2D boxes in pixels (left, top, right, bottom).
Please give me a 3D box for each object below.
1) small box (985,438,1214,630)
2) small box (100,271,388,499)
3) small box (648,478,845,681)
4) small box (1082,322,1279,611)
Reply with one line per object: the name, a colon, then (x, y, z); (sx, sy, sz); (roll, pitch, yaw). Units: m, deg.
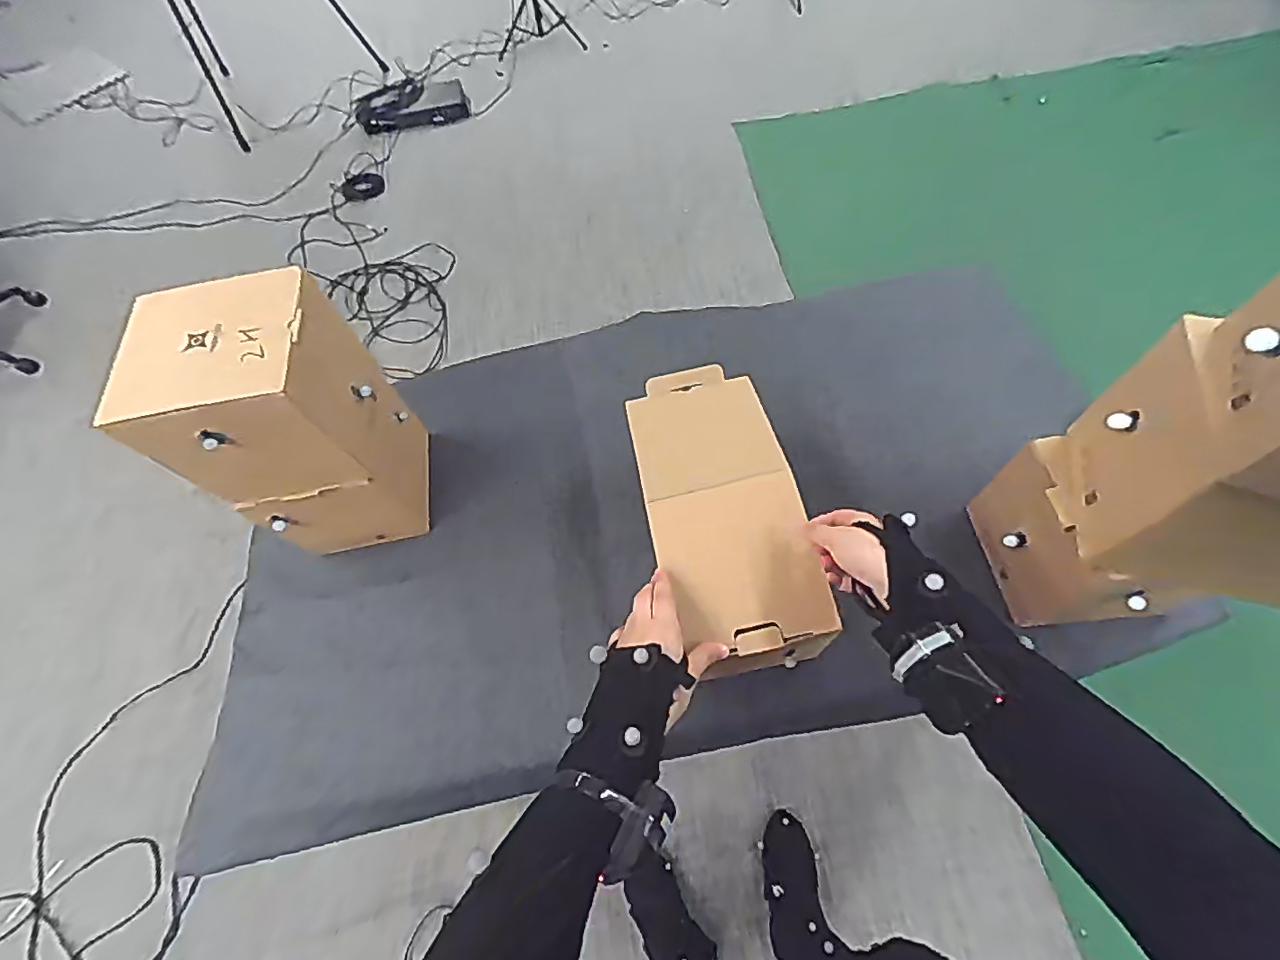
small box: (0.526, 0.063, 0.609); (0.179, 0.176, 0.168); (-6, 60, 3)
small box: (-0.405, -0.093, 0.590); (0.179, 0.176, 0.168); (-11, 63, -1)
small box: (0.111, 0.124, 0.619); (0.168, 0.176, 0.179); (-12, 62, 1)
small box: (0.517, -0.004, 0.460); (0.179, 0.176, 0.168); (13, 62, 12)
